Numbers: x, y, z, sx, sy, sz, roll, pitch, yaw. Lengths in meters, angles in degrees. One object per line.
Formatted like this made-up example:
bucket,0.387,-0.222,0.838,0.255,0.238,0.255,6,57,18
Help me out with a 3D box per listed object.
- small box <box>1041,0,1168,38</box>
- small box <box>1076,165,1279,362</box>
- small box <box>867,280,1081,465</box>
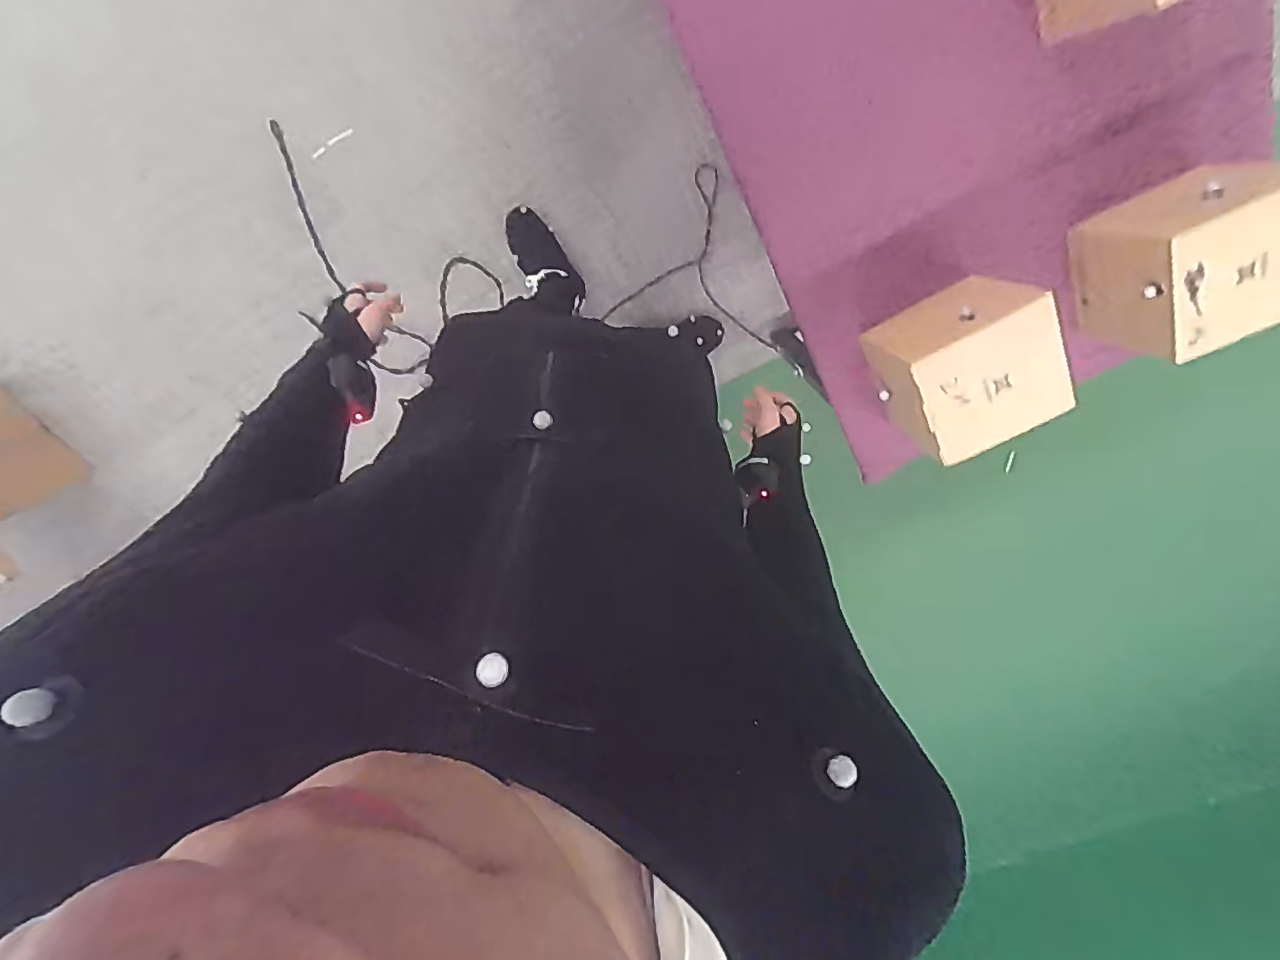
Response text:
small box,0.528,-0.584,0.525,0.179,0.176,0.168,-25,115,13
small box,0.712,-0.281,0.689,0.179,0.176,0.168,-25,115,12
small box,0.449,-0.156,0.747,0.179,0.176,0.168,-27,114,13
